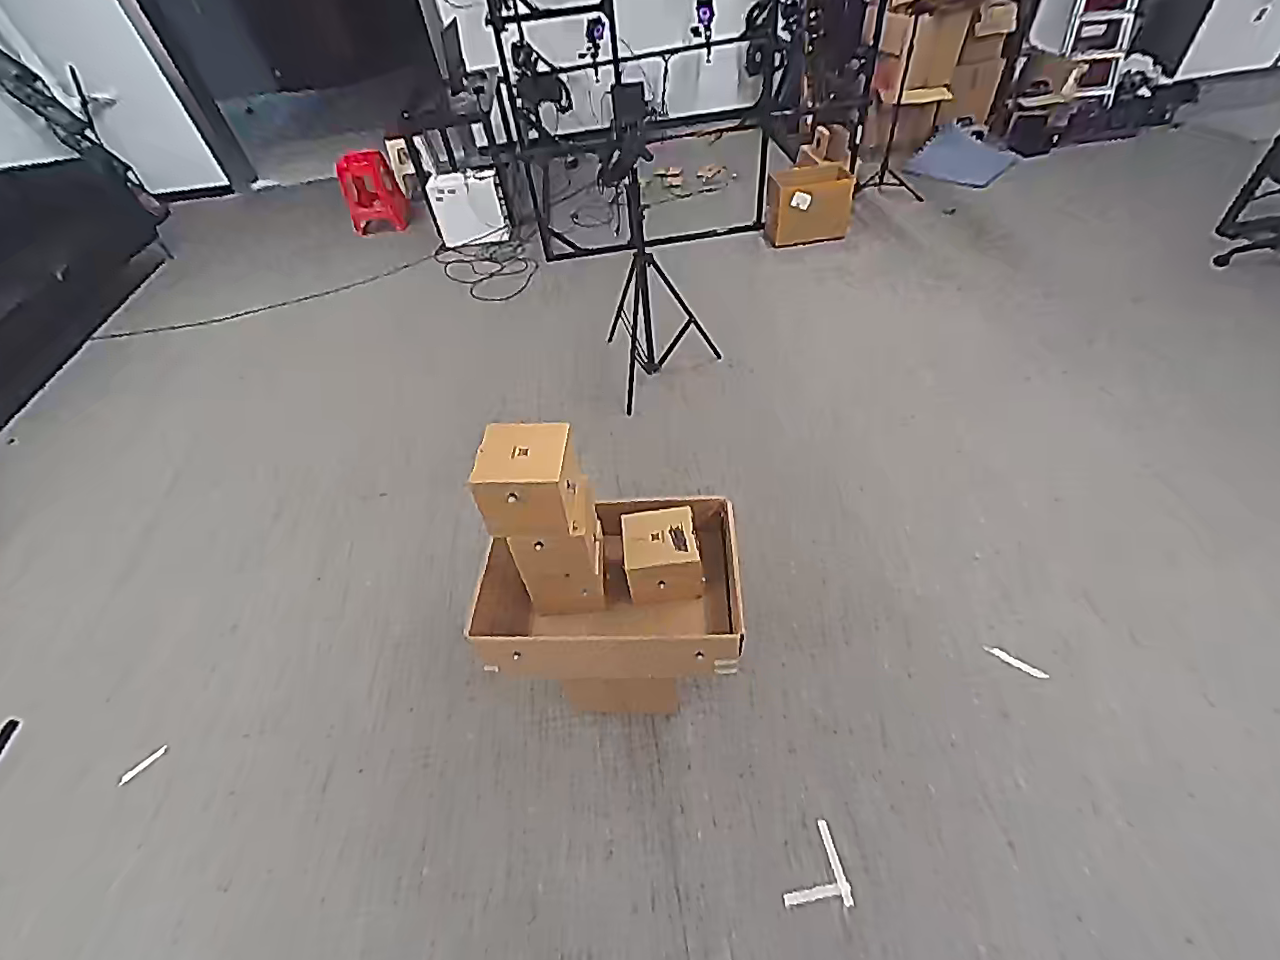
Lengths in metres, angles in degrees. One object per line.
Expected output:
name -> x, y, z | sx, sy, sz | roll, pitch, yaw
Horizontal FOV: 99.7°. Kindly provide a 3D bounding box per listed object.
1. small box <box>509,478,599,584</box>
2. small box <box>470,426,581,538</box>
small box -> -0.186, 0.116, 1.226 | 0.168, 0.176, 0.179 | -3, 46, 2
small box -> -0.222, 0.006, 1.109 | 0.179, 0.176, 0.168 | -1, 47, 4
